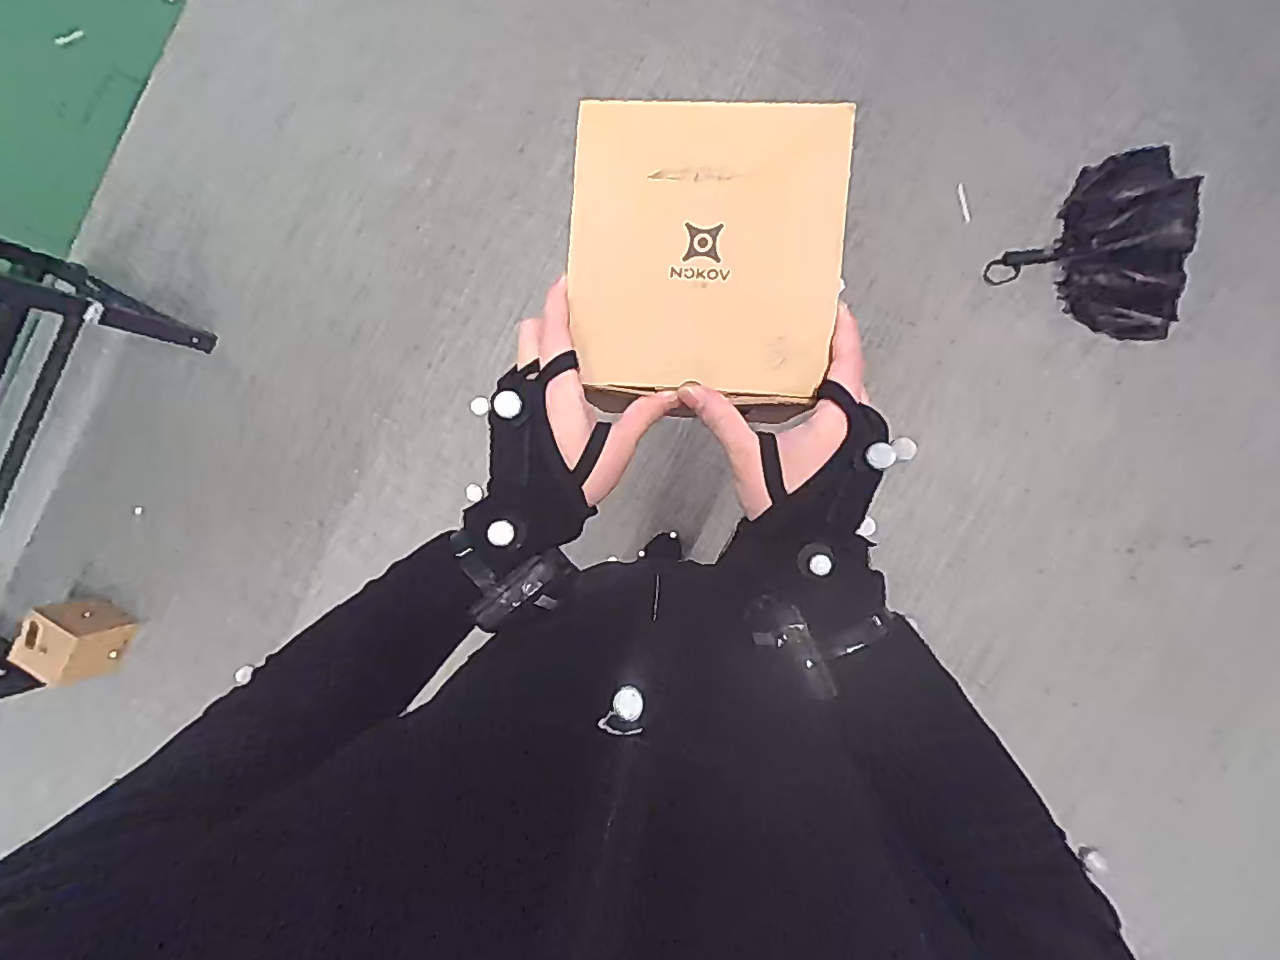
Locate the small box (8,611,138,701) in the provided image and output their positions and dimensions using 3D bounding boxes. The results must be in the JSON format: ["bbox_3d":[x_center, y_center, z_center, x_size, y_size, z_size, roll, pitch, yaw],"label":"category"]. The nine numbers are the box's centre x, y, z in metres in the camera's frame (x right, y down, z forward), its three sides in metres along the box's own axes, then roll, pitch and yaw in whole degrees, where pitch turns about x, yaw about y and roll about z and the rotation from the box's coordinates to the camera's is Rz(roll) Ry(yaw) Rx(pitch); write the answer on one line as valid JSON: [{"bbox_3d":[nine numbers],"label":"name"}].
[{"bbox_3d":[-1.627,0.496,1.559,0.179,0.176,0.168,26,93,6],"label":"small box"}]
